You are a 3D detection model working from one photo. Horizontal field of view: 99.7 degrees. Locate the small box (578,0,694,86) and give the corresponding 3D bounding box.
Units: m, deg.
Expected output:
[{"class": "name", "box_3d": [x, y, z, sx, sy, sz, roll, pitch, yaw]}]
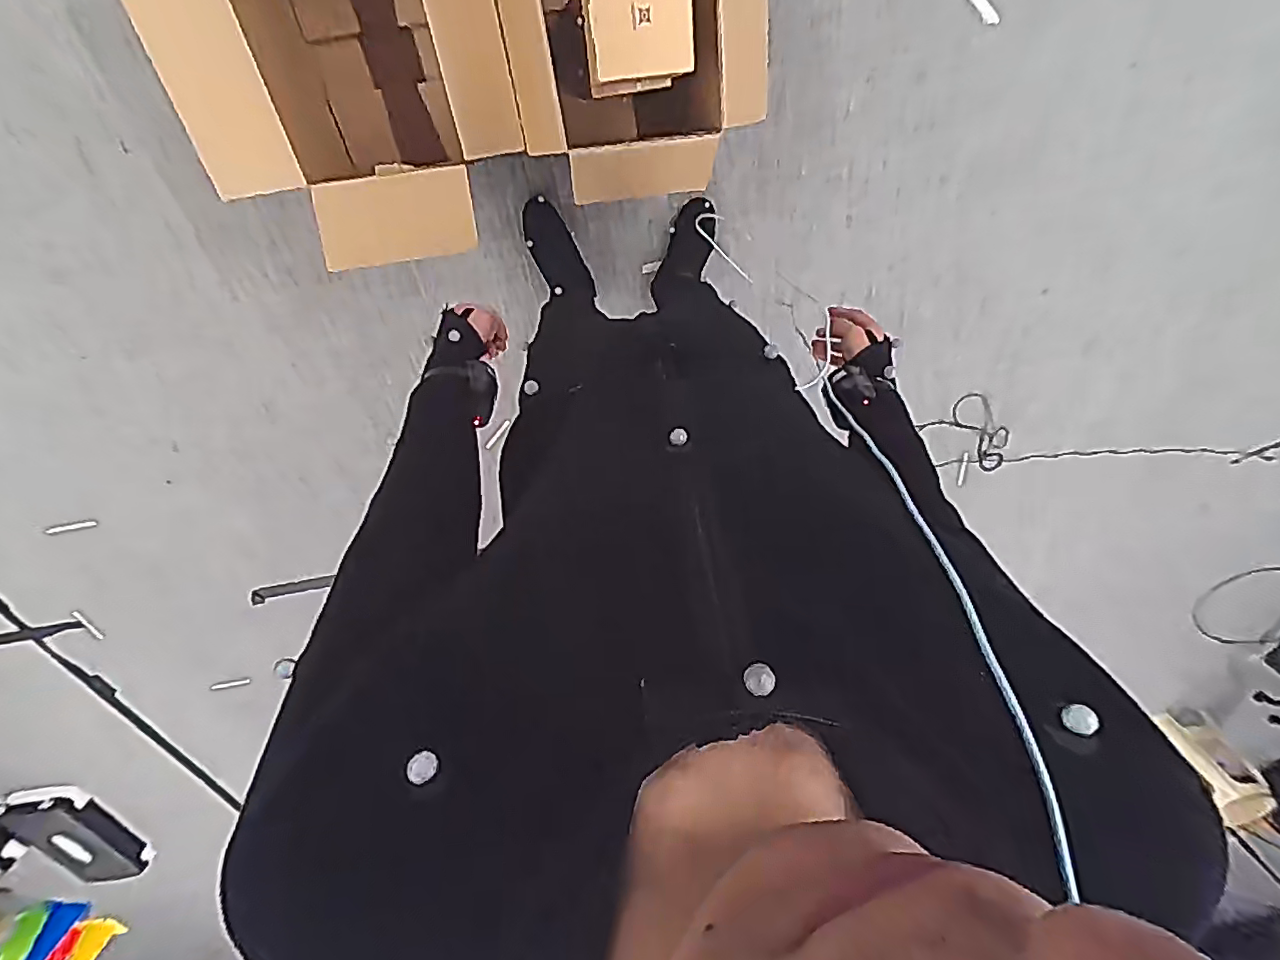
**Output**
[{"class": "small box", "box_3d": [-0.010, -0.812, 0.961, 0.179, 0.176, 0.168, -10, 125, -4]}]
